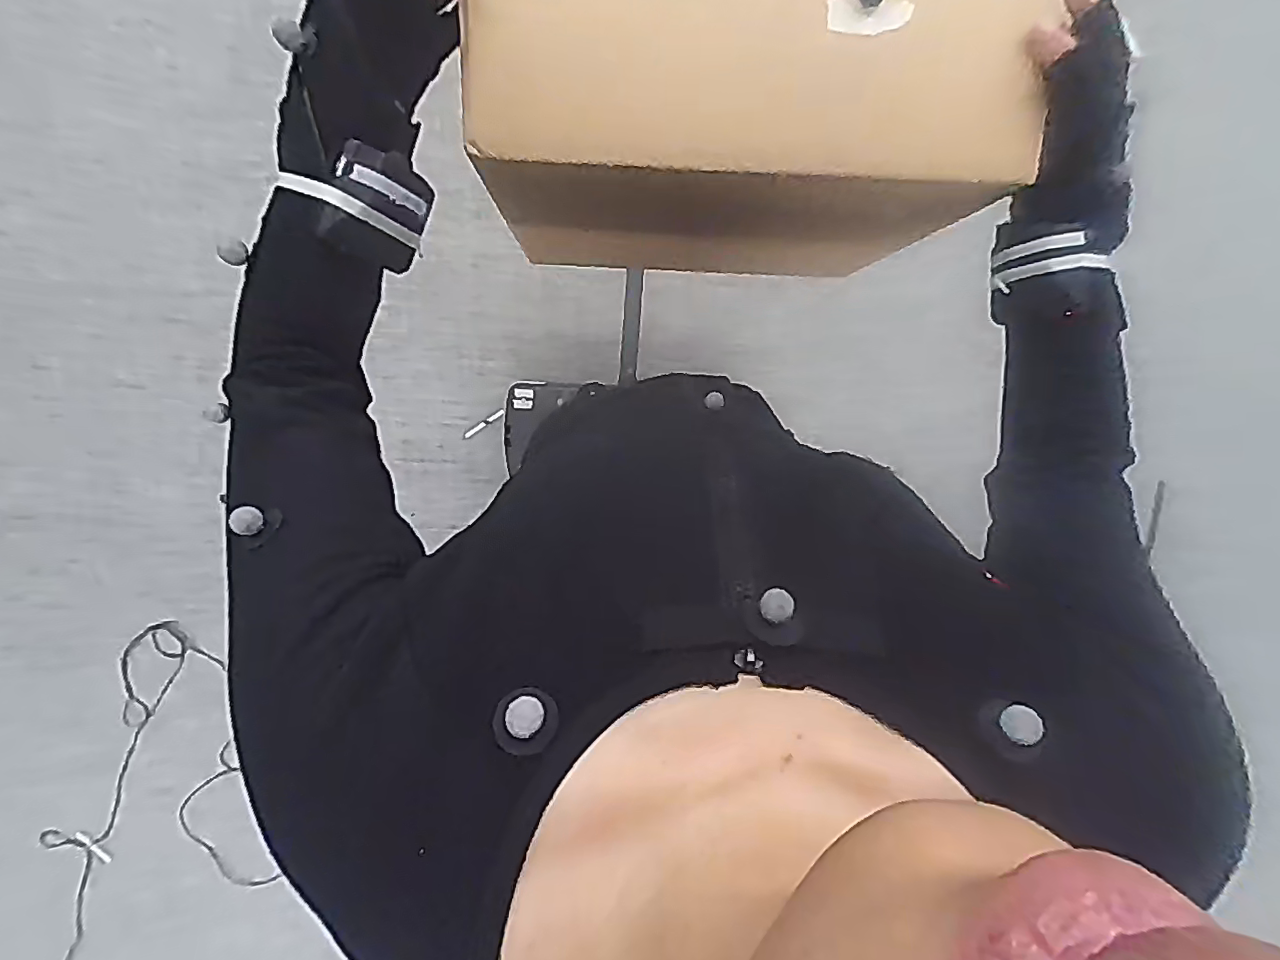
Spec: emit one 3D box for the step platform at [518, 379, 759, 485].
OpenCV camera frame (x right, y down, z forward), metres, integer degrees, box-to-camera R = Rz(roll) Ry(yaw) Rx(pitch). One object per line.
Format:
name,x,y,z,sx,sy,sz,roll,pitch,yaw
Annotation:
step platform,-0.005,-0.140,1.561,0.684,0.204,0.286,0,100,-6

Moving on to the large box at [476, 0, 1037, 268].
large box,0.074,-0.400,0.515,0.408,0.320,0.320,0,99,-5
